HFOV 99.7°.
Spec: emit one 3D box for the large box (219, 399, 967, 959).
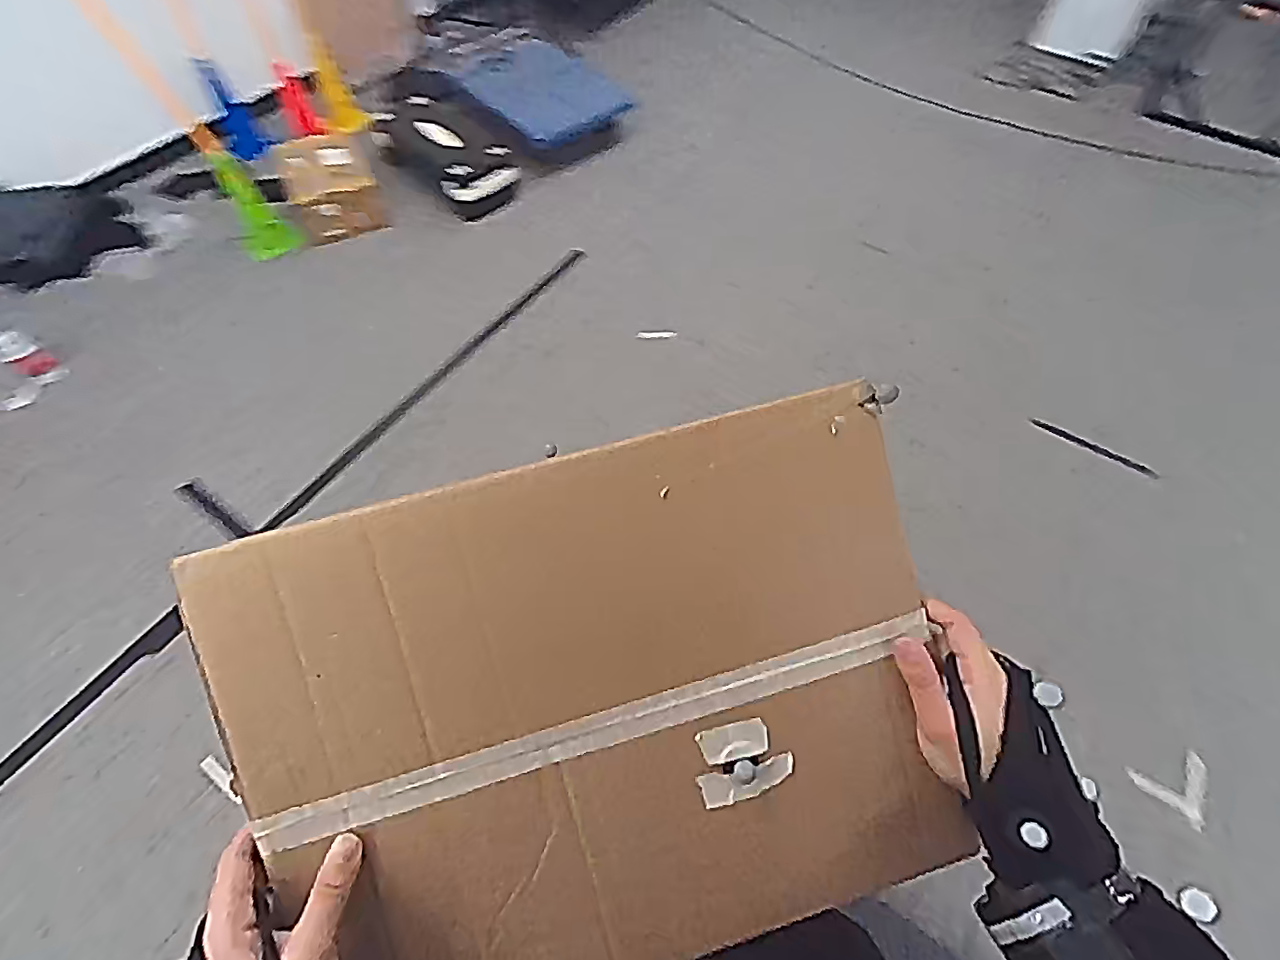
[{"bbox_3d":[-0.027,0.143,0.477,0.408,0.320,0.320,-15,95,-6],"label":"large box"}]
